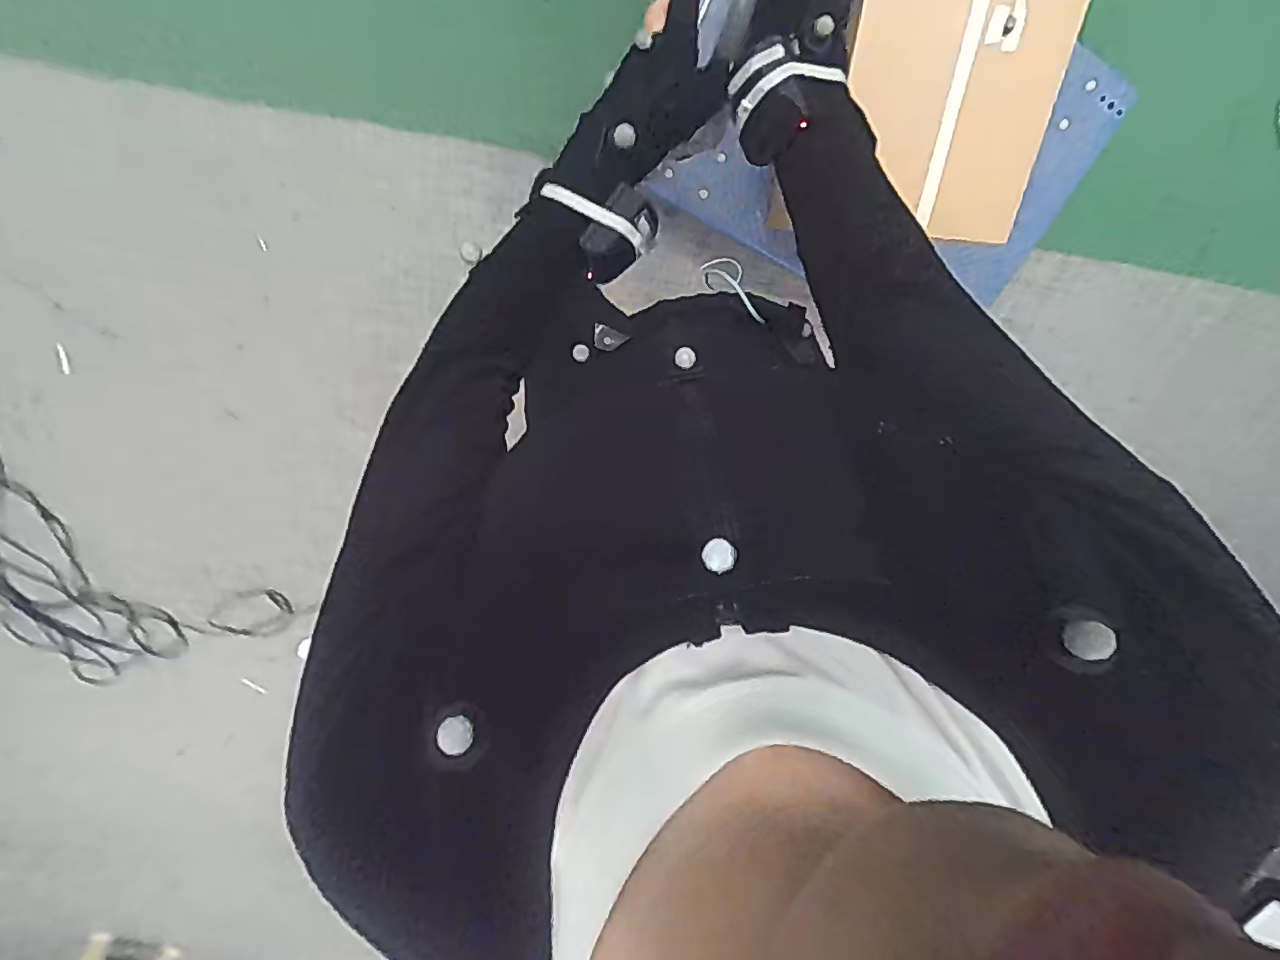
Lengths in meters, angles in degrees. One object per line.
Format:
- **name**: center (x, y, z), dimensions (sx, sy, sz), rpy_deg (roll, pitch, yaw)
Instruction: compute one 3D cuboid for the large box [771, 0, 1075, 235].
- **large box**: center (0.434, -0.639, 0.909), dimensions (0.320, 0.320, 0.408), rpy_deg (3, 114, -4)
